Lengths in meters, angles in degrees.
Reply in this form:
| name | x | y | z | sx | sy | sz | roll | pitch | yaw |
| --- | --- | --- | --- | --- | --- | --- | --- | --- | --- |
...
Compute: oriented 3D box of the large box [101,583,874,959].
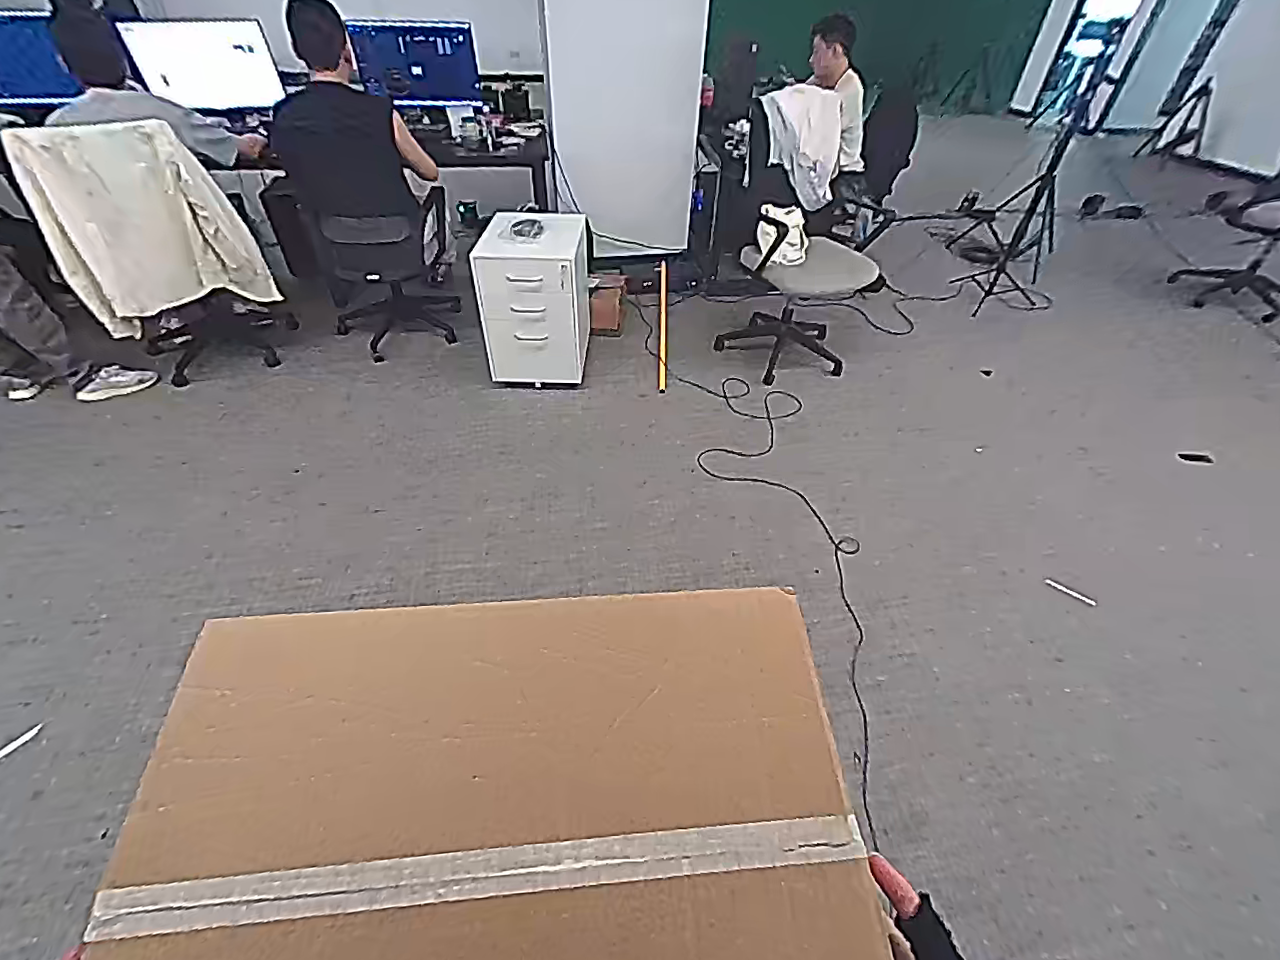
| name | x | y | z | sx | sy | sz | roll | pitch | yaw |
| --- | --- | --- | --- | --- | --- | --- | --- | --- | --- |
| large box | -0.085 | 0.298 | 0.429 | 0.408 | 0.320 | 0.320 | -2 | 56 | -5 |
